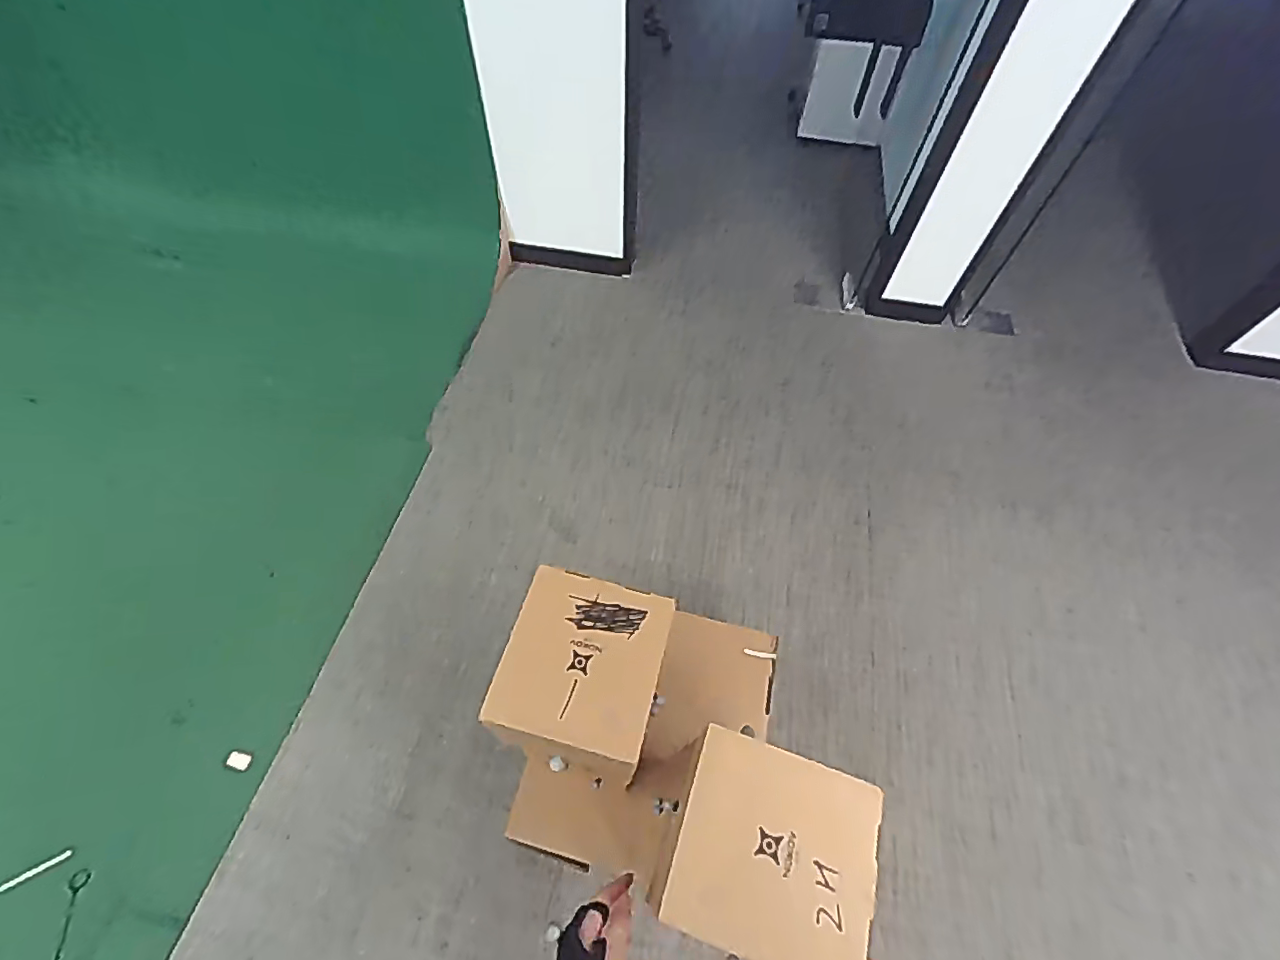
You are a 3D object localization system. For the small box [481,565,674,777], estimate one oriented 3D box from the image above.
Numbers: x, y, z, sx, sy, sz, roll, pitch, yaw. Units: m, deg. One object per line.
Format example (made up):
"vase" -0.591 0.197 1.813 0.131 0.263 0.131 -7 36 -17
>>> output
"small box" -0.065 0.231 0.642 0.168 0.176 0.179 14 57 7

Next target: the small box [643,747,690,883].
"small box" 0.104 0.541 0.832 0.168 0.176 0.179 15 56 7

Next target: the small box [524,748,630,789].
"small box" -0.079 0.405 0.919 0.168 0.176 0.179 13 55 7

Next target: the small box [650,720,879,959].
"small box" 0.115 0.371 0.548 0.179 0.176 0.168 18 58 9
